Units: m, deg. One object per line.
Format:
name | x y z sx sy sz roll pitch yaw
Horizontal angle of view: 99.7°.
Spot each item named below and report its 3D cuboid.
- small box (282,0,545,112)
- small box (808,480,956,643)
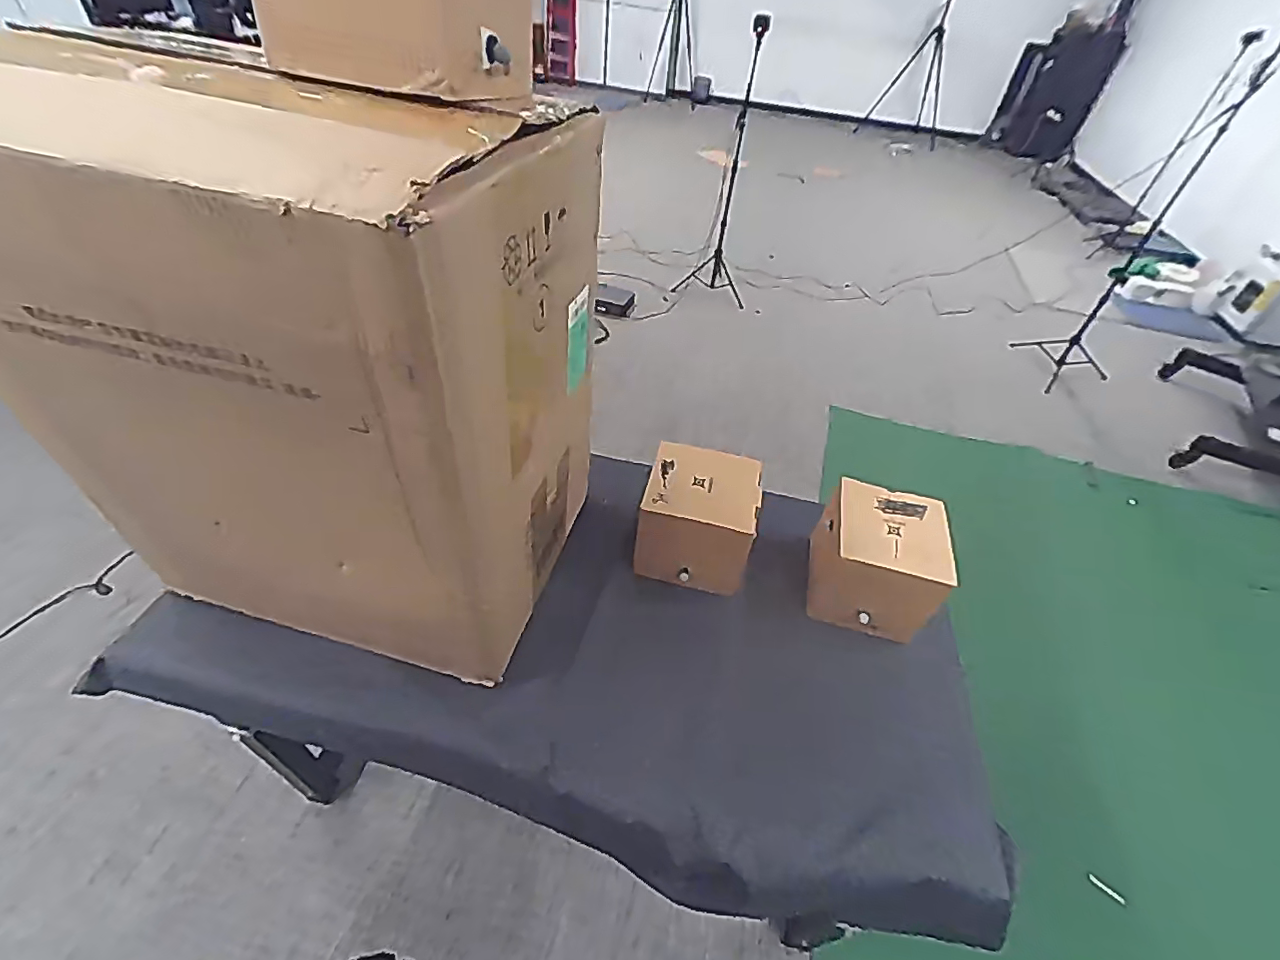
small box | -0.194 -0.437 0.476 0.179 0.176 0.168 16 39 6
small box | 0.384 0.133 0.888 0.168 0.176 0.179 14 45 8
